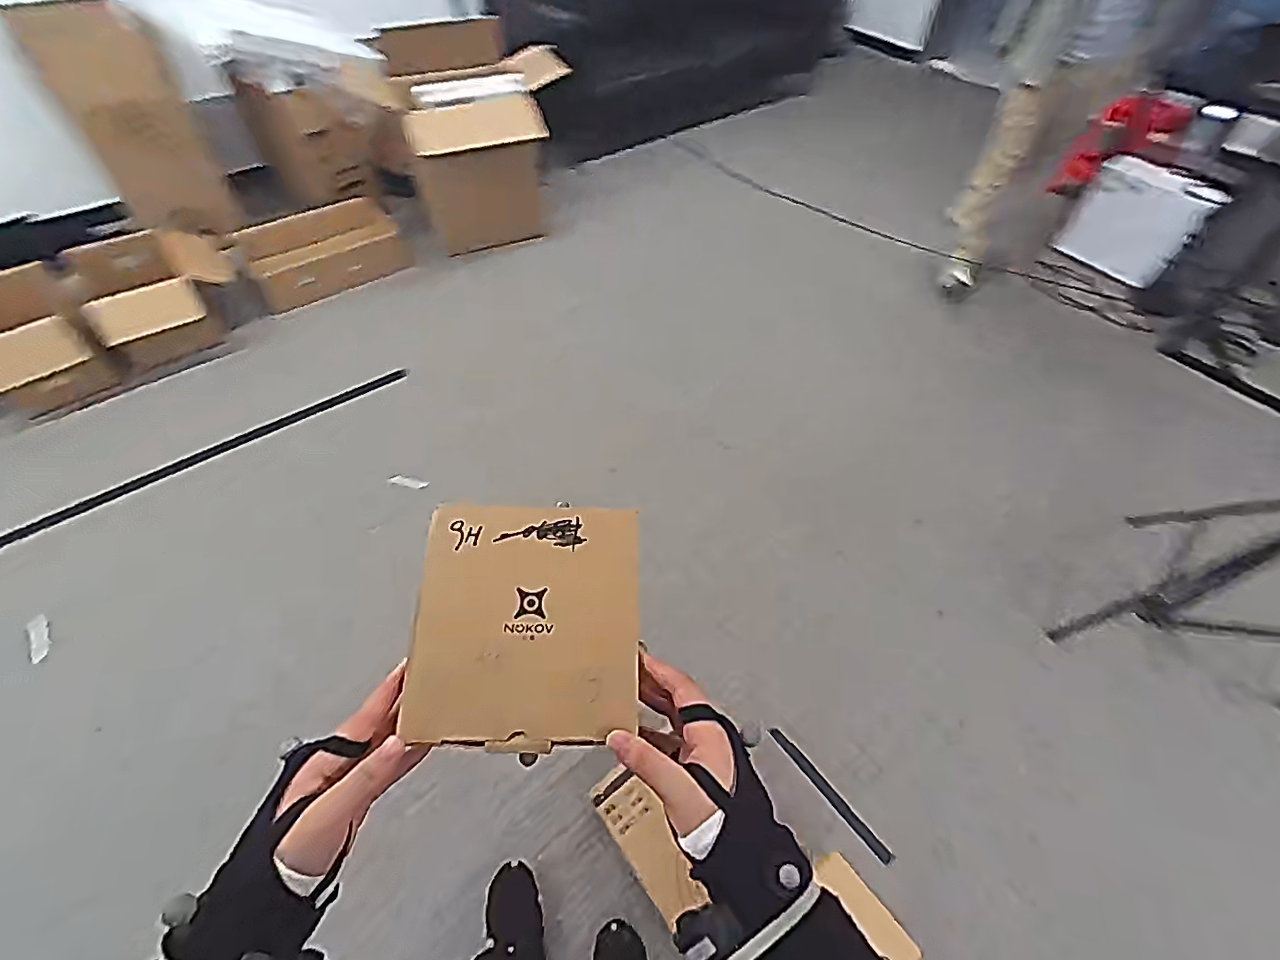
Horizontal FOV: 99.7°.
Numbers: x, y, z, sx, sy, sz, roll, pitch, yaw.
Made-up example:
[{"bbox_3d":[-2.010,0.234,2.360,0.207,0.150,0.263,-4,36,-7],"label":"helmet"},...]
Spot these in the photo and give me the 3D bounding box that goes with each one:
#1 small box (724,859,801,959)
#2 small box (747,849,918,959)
[{"bbox_3d":[0.277,0.839,1.002,0.179,0.176,0.168,-28,58,-20],"label":"small box"},{"bbox_3d":[0.297,0.737,0.873,0.179,0.176,0.168,-31,60,-23],"label":"small box"}]
